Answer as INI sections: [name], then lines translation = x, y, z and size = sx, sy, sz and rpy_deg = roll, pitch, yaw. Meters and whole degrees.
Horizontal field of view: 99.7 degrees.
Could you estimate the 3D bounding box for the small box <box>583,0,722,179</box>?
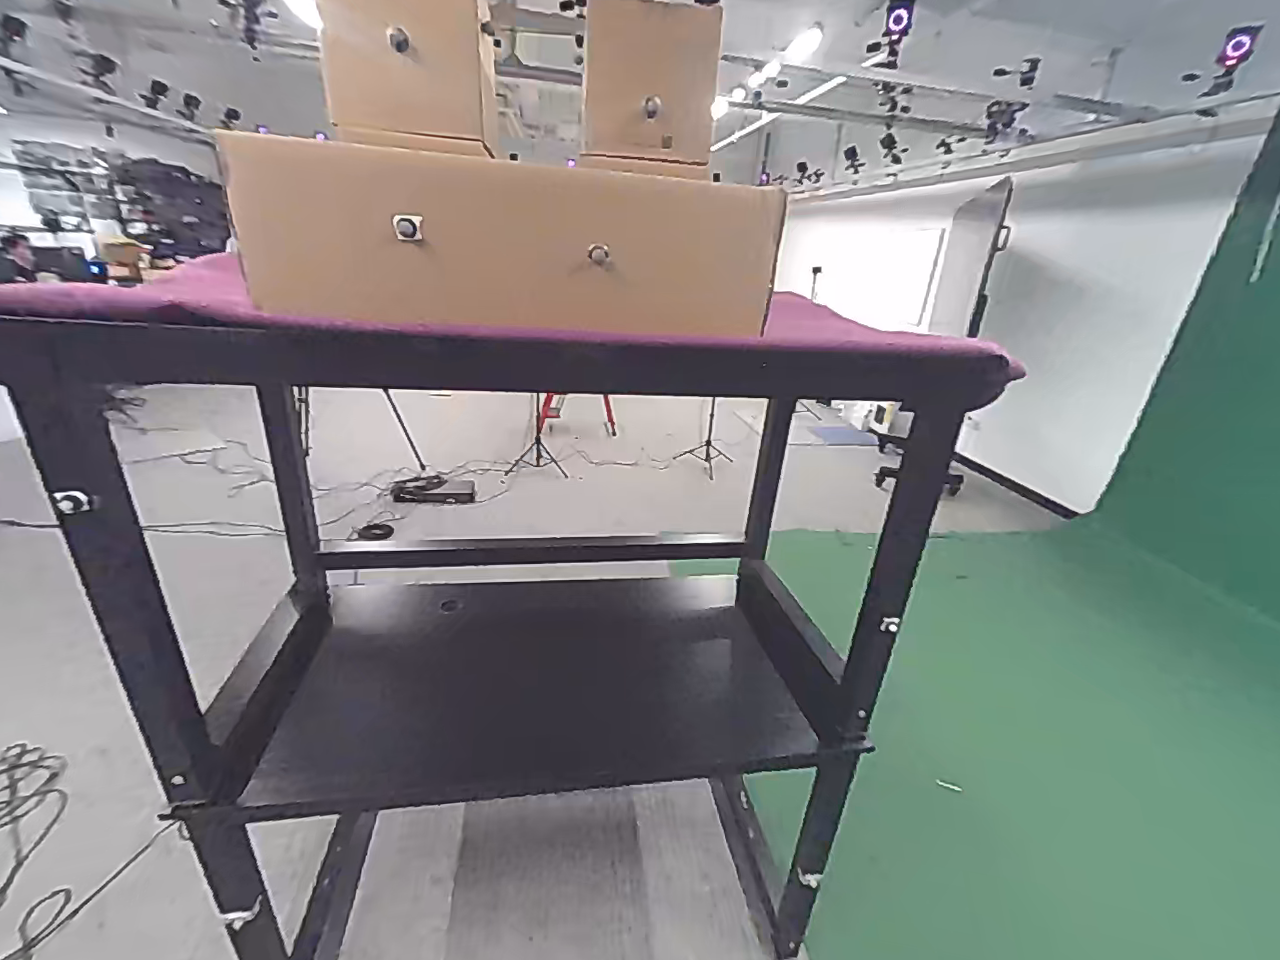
[small box]
translation = 0.006, -0.521, 0.751
size = 0.168, 0.176, 0.179
rpy_deg = -1, 23, -8
